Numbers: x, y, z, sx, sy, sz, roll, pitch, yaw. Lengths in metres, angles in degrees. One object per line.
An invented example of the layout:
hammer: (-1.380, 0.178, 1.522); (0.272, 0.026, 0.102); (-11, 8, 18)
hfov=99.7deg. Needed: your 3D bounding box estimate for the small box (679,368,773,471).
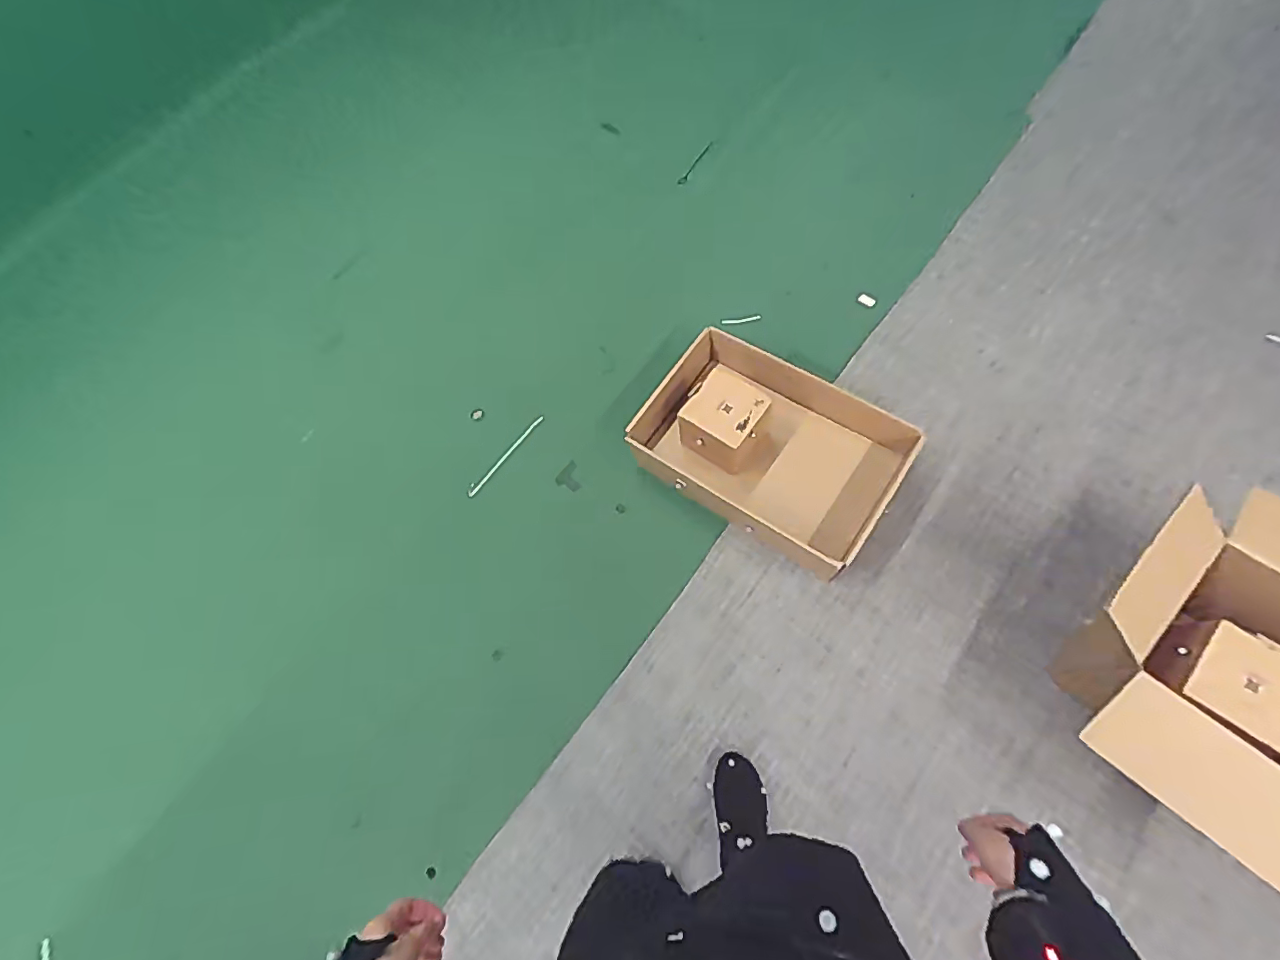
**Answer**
small box: (0.220, -0.150, 1.402); (0.179, 0.176, 0.168); (33, 76, 19)
